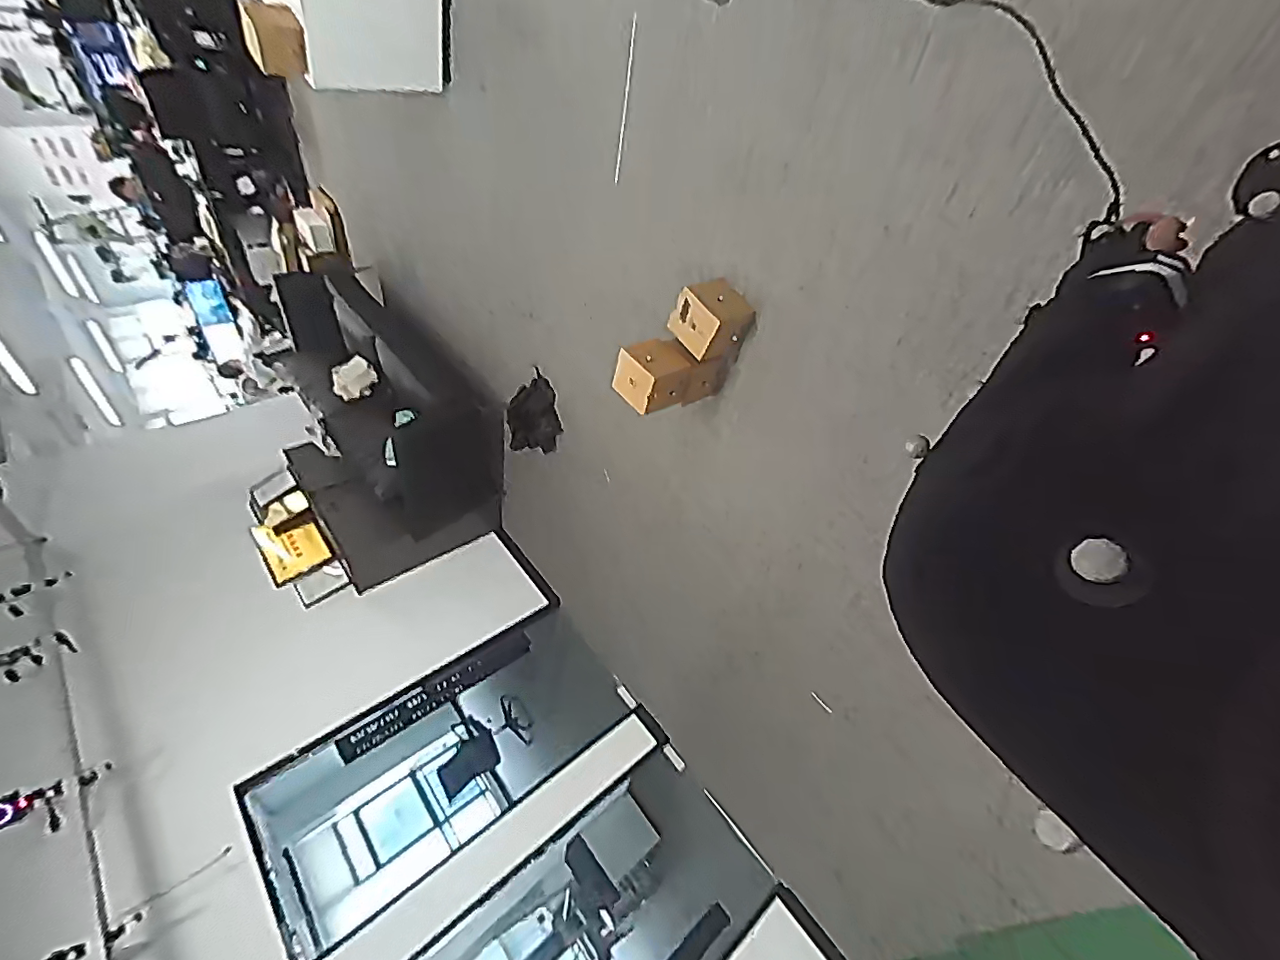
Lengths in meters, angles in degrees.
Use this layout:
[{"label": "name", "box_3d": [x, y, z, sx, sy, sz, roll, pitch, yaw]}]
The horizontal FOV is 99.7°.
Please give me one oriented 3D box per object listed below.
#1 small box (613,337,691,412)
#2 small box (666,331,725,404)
[{"label": "small box", "box_3d": [0.040, -0.360, 1.811, 0.179, 0.176, 0.168, 46, 142, 24]}, {"label": "small box", "box_3d": [0.169, -0.402, 1.903, 0.179, 0.176, 0.168, 46, 143, 24]}]
